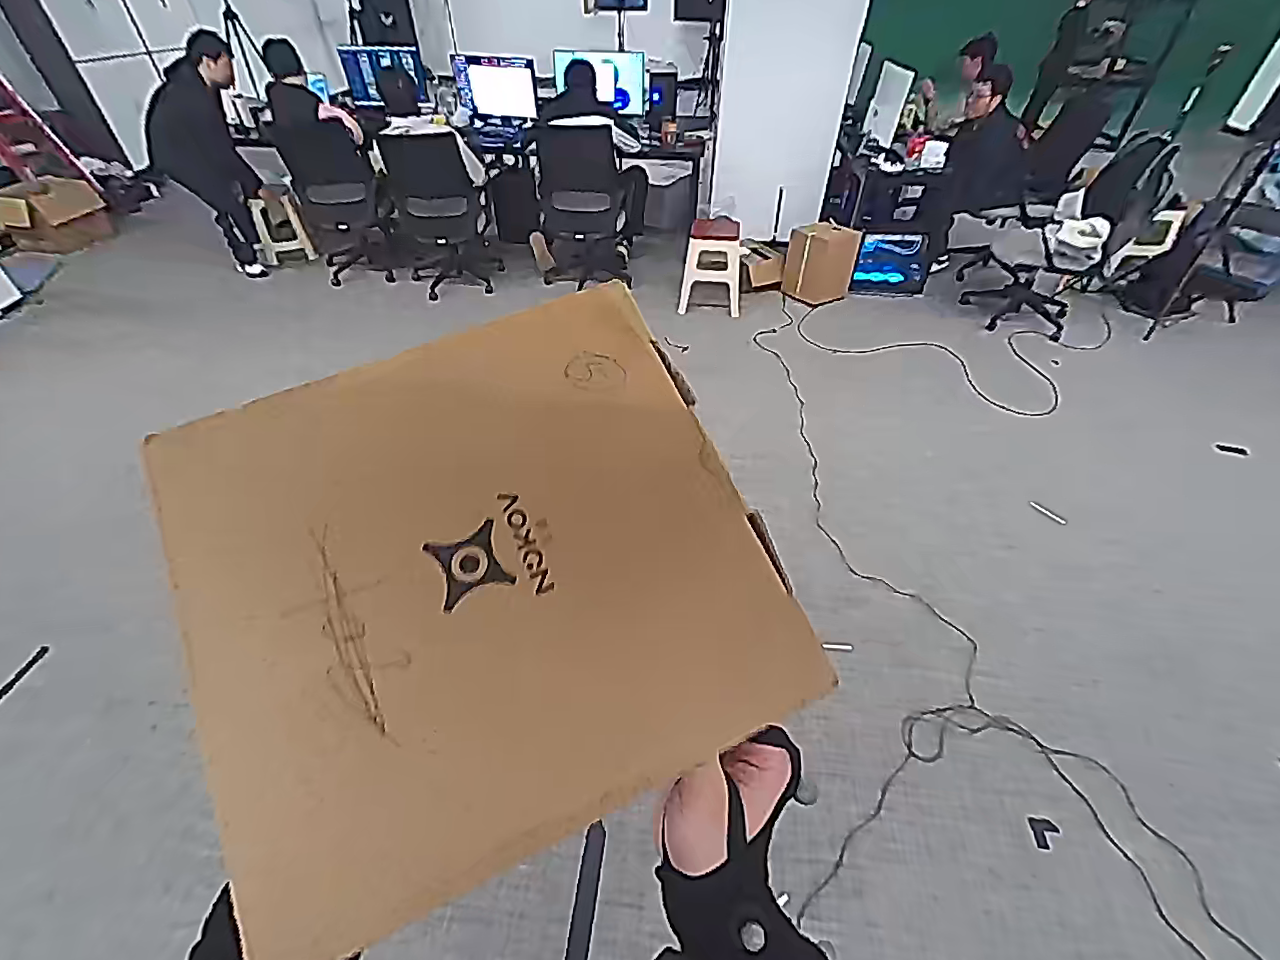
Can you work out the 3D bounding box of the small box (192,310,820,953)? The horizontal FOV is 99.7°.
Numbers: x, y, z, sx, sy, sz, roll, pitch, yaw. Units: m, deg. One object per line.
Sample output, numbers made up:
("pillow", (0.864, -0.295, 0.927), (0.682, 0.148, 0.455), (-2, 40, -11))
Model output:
("small box", (-0.054, 0.057, 0.262), (0.179, 0.176, 0.168), (-23, 71, -12))
